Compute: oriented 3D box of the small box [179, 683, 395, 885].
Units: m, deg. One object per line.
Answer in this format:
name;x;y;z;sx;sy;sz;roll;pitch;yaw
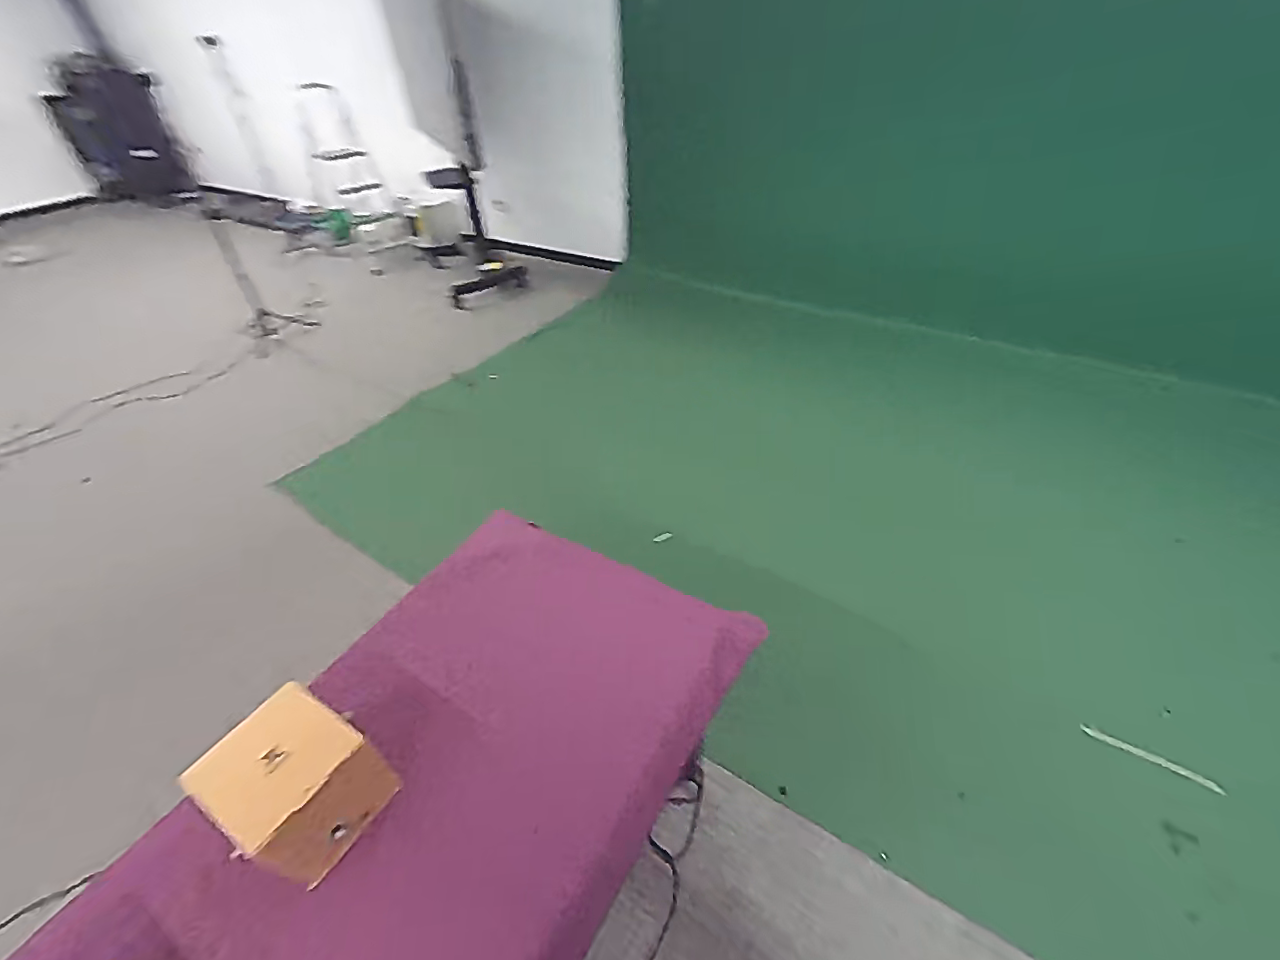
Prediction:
small box;-0.496;0.440;0.783;0.179;0.176;0.168;21;46;23
